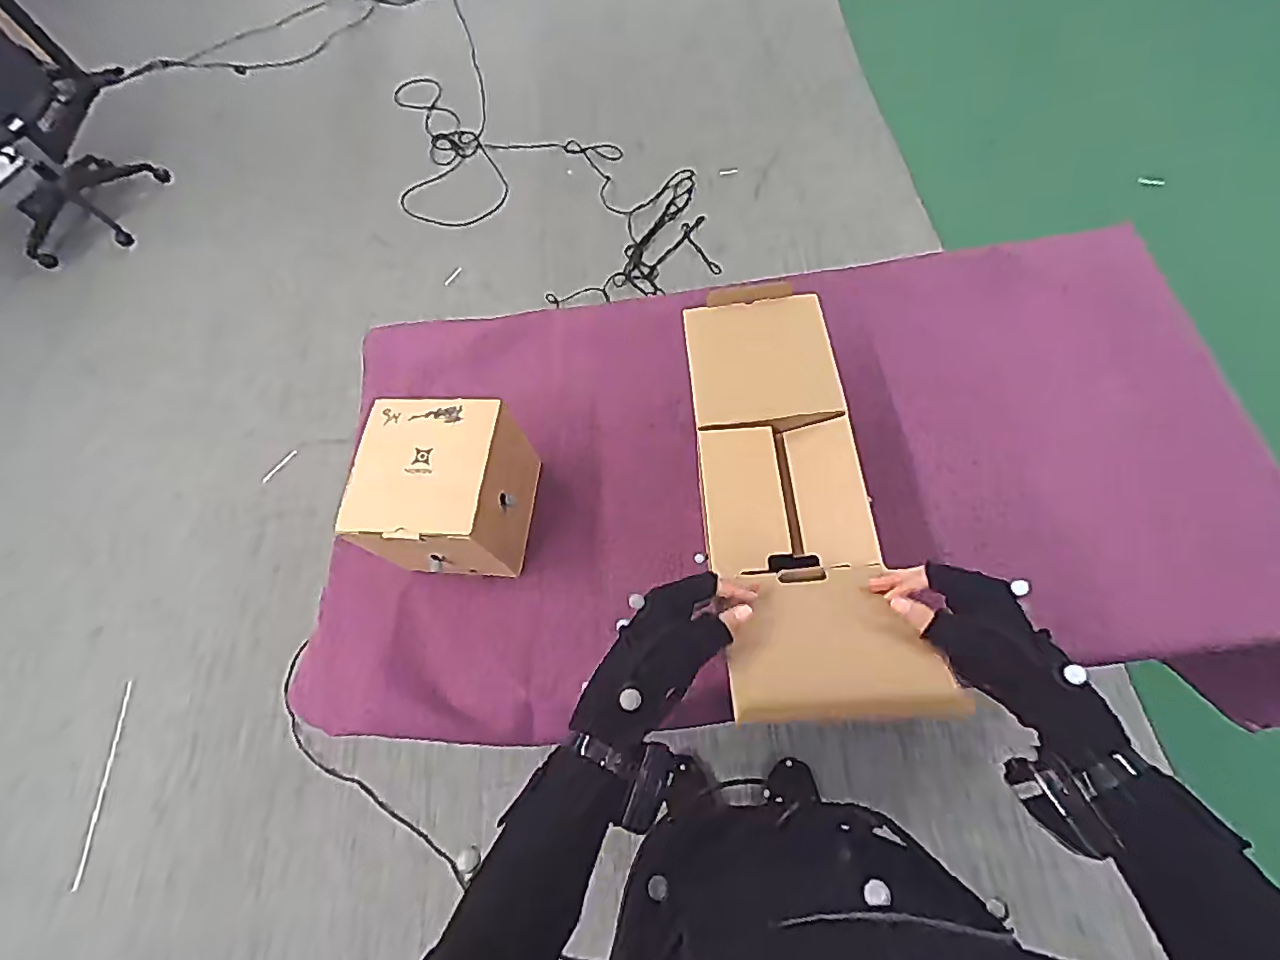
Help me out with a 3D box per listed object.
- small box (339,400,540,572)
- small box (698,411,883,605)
[{"bbox_3d":[-0.239,0.015,0.695,0.168,0.176,0.179,2,67,9],"label":"small box"},{"bbox_3d":[0.159,0.044,0.626,0.168,0.176,0.179,-5,65,5],"label":"small box"}]
